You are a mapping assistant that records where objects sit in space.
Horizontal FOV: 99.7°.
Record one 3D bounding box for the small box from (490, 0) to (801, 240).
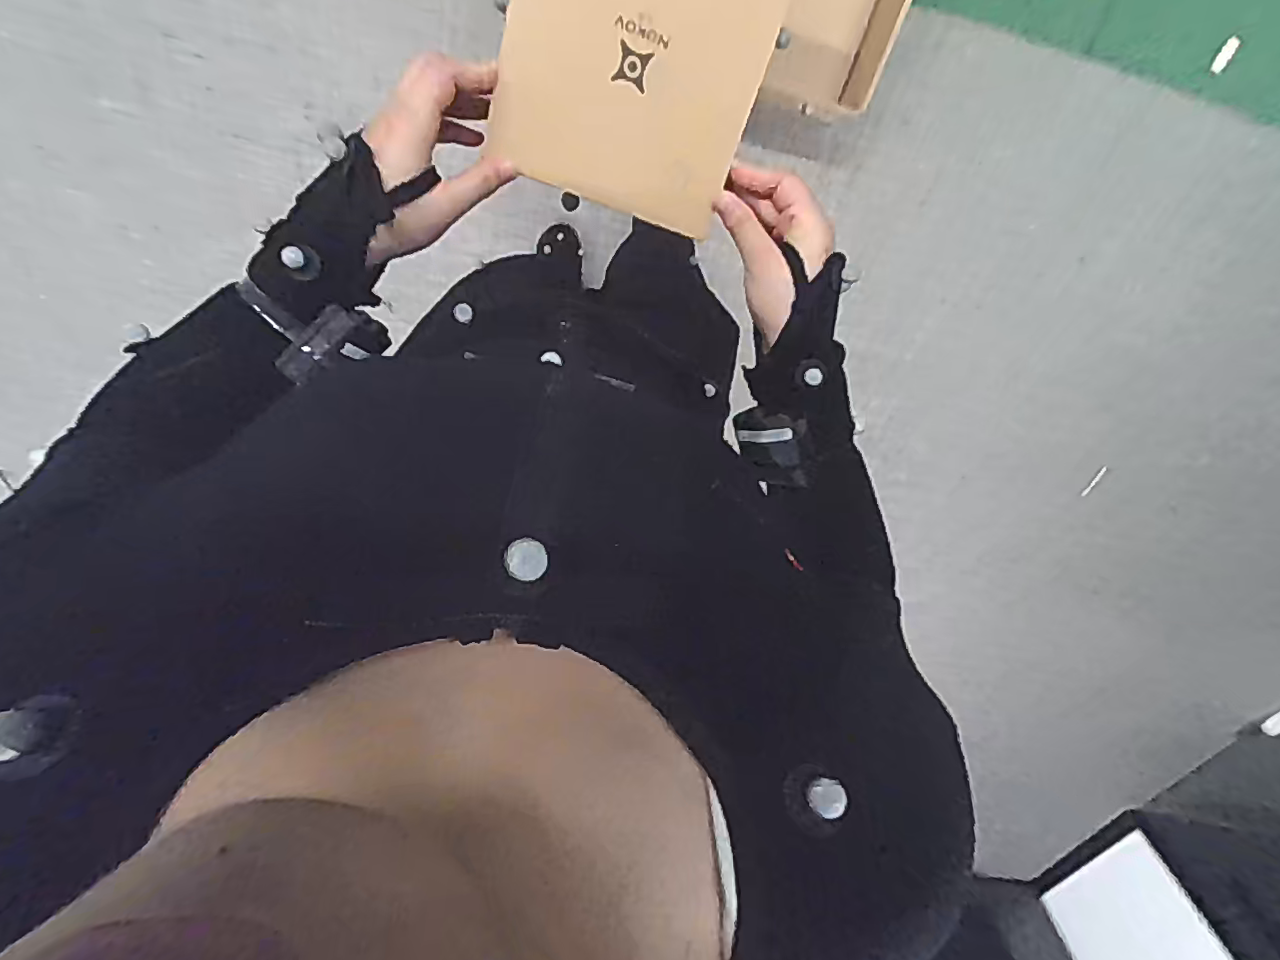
[{"bbox_3d":[-0.001,-0.307,0.409,0.168,0.176,0.179,15,118,-12],"label":"small box"}]
